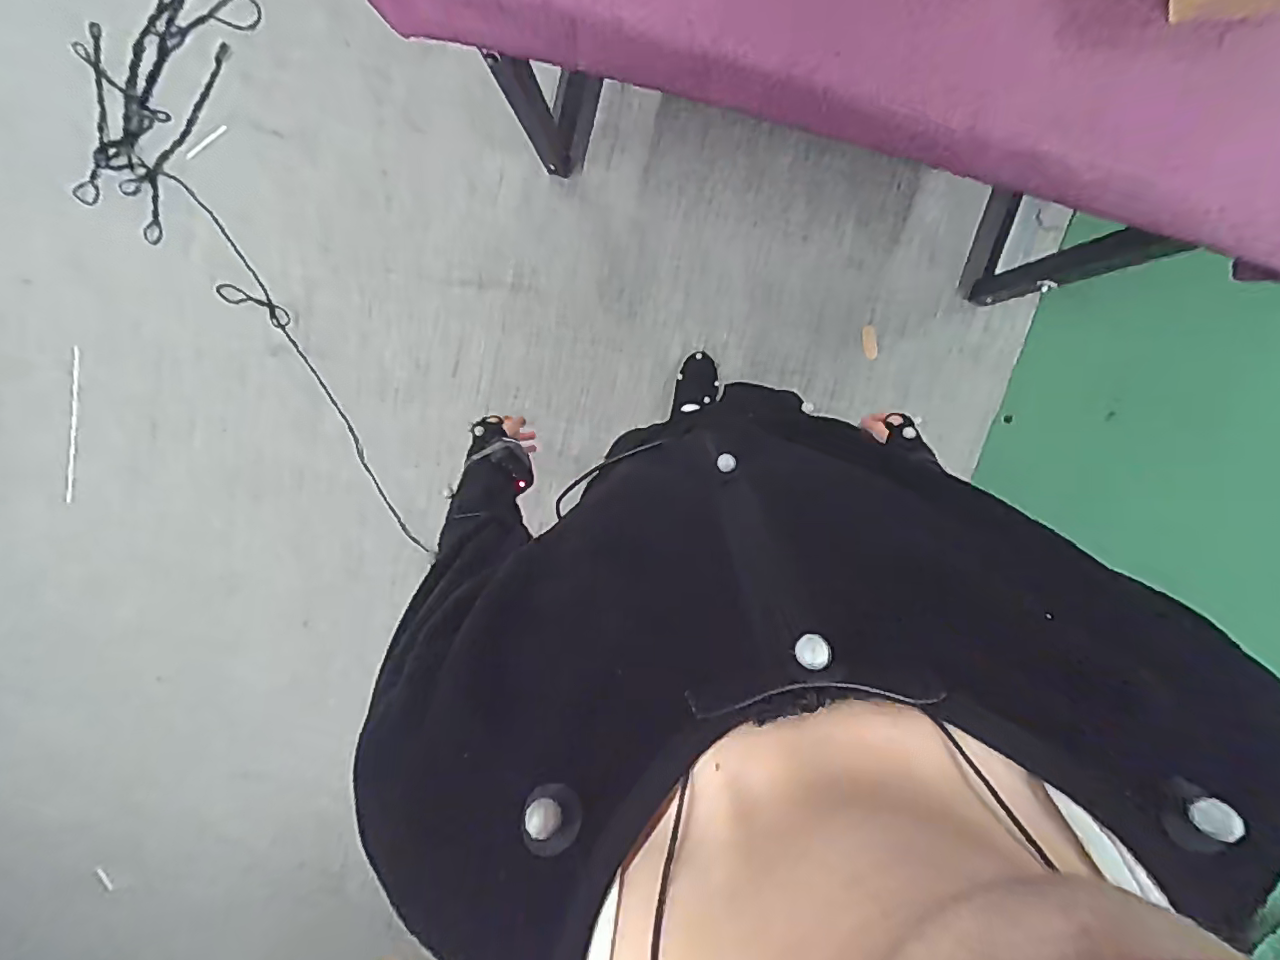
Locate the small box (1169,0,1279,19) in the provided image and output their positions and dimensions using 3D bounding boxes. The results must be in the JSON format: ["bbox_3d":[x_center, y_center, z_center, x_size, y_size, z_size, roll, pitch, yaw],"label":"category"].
[{"bbox_3d":[0.704,-0.619,0.553,0.179,0.176,0.168,-3,99,3],"label":"small box"}]
